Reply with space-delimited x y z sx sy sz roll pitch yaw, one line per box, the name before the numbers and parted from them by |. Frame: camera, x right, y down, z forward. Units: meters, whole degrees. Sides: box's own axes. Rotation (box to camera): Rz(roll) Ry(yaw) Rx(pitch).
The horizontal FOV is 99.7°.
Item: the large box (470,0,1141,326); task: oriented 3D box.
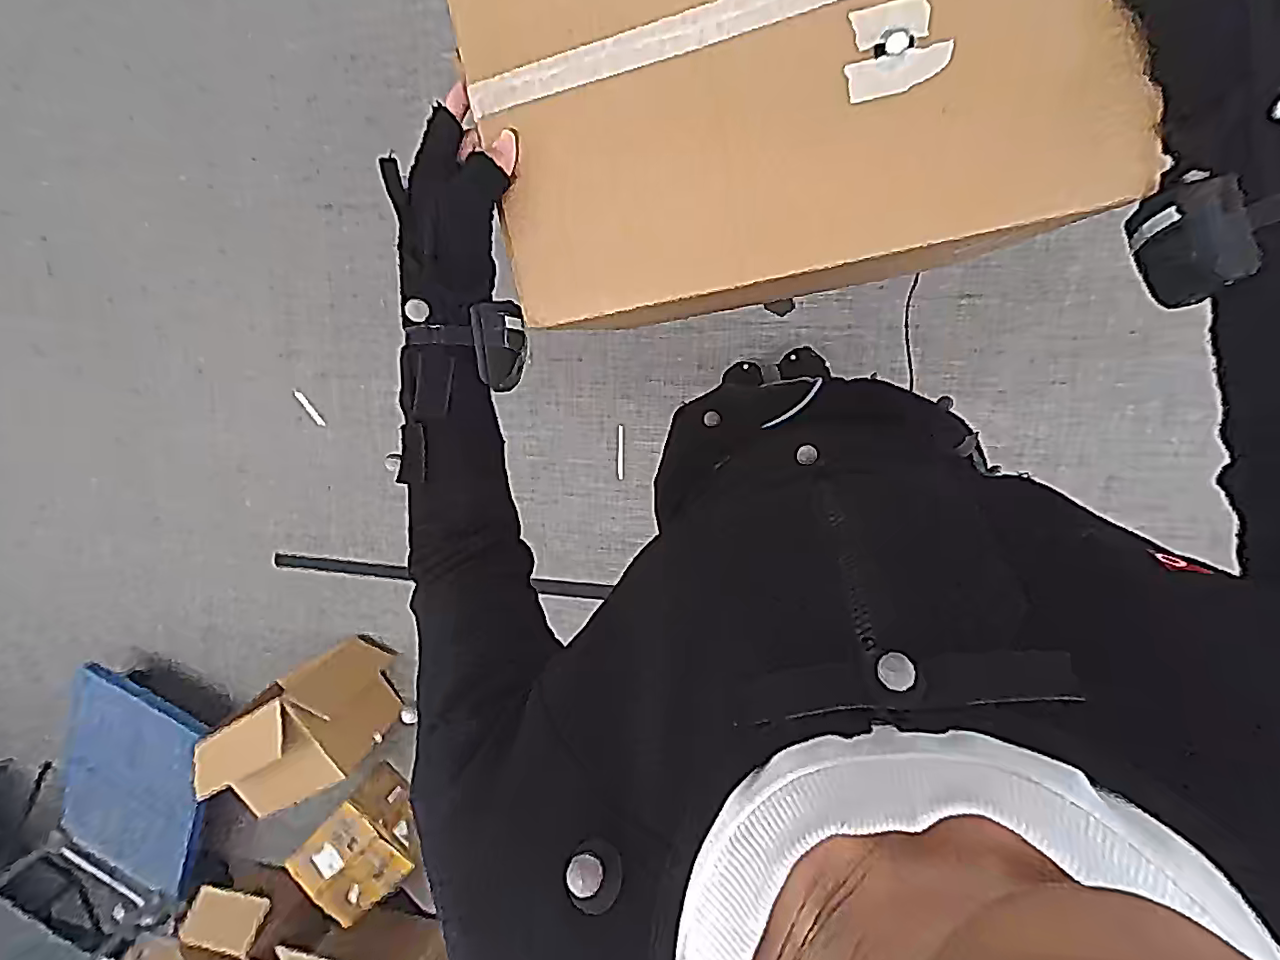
large box | 0.111 -0.335 0.483 0.408 0.320 0.320 -8 104 13
